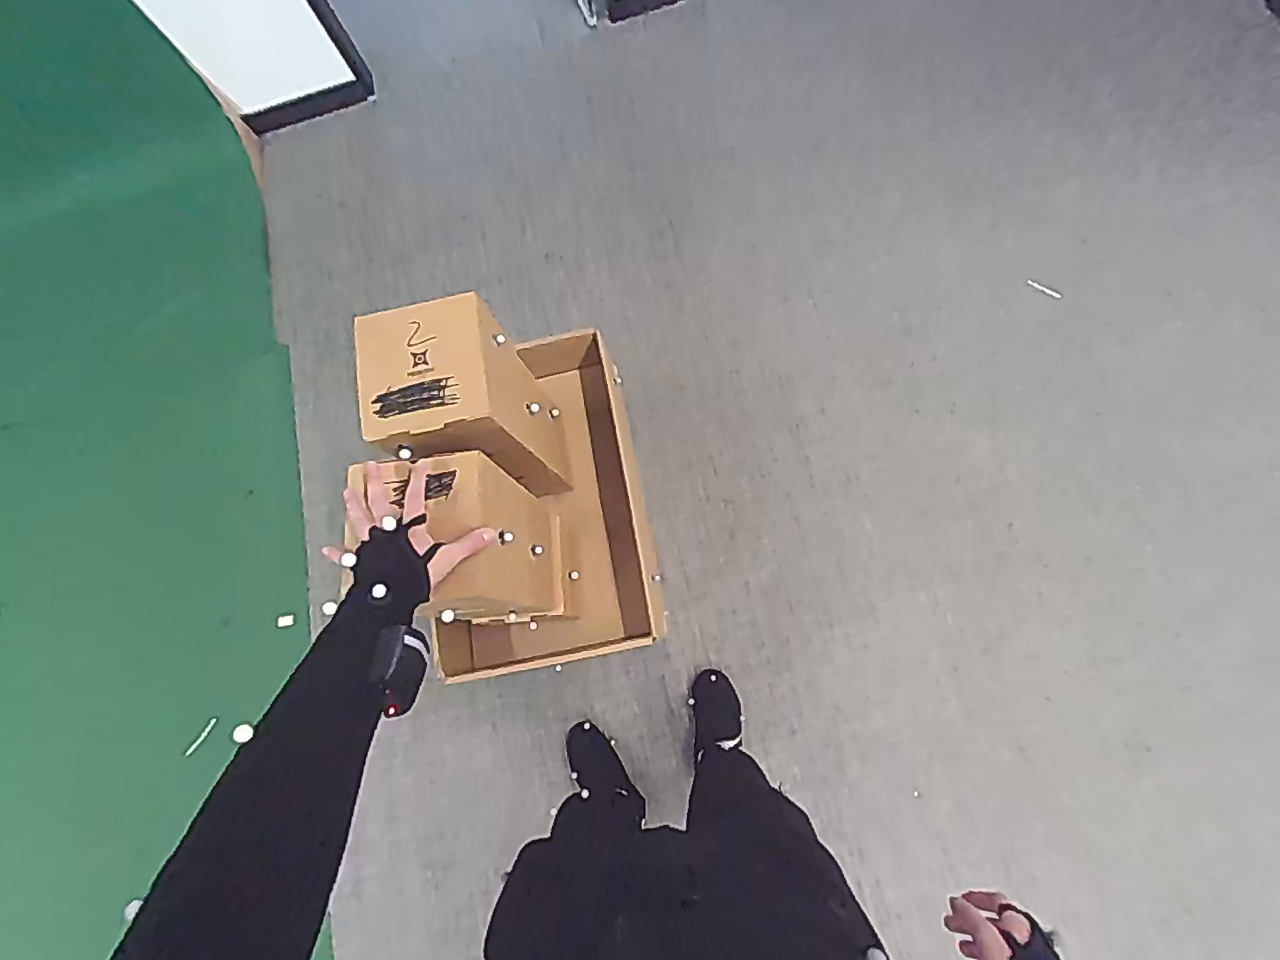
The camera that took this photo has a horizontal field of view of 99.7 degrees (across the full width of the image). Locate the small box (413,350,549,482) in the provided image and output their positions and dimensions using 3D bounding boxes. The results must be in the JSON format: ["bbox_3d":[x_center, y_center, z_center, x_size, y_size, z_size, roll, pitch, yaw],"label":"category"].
[{"bbox_3d":[-0.265,-0.095,0.927,0.168,0.176,0.179,-13,78,2],"label":"small box"}]

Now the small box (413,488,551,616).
[{"bbox_3d":[-0.244,0.124,0.867,0.168,0.176,0.179,-6,73,4],"label":"small box"}]

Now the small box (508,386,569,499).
[{"bbox_3d":[-0.249,-0.063,1.085,0.168,0.176,0.179,-12,77,3],"label":"small box"}]

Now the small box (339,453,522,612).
[{"bbox_3d":[-0.260,0.078,0.710,0.168,0.176,0.179,-5,75,5],"label":"small box"}]
